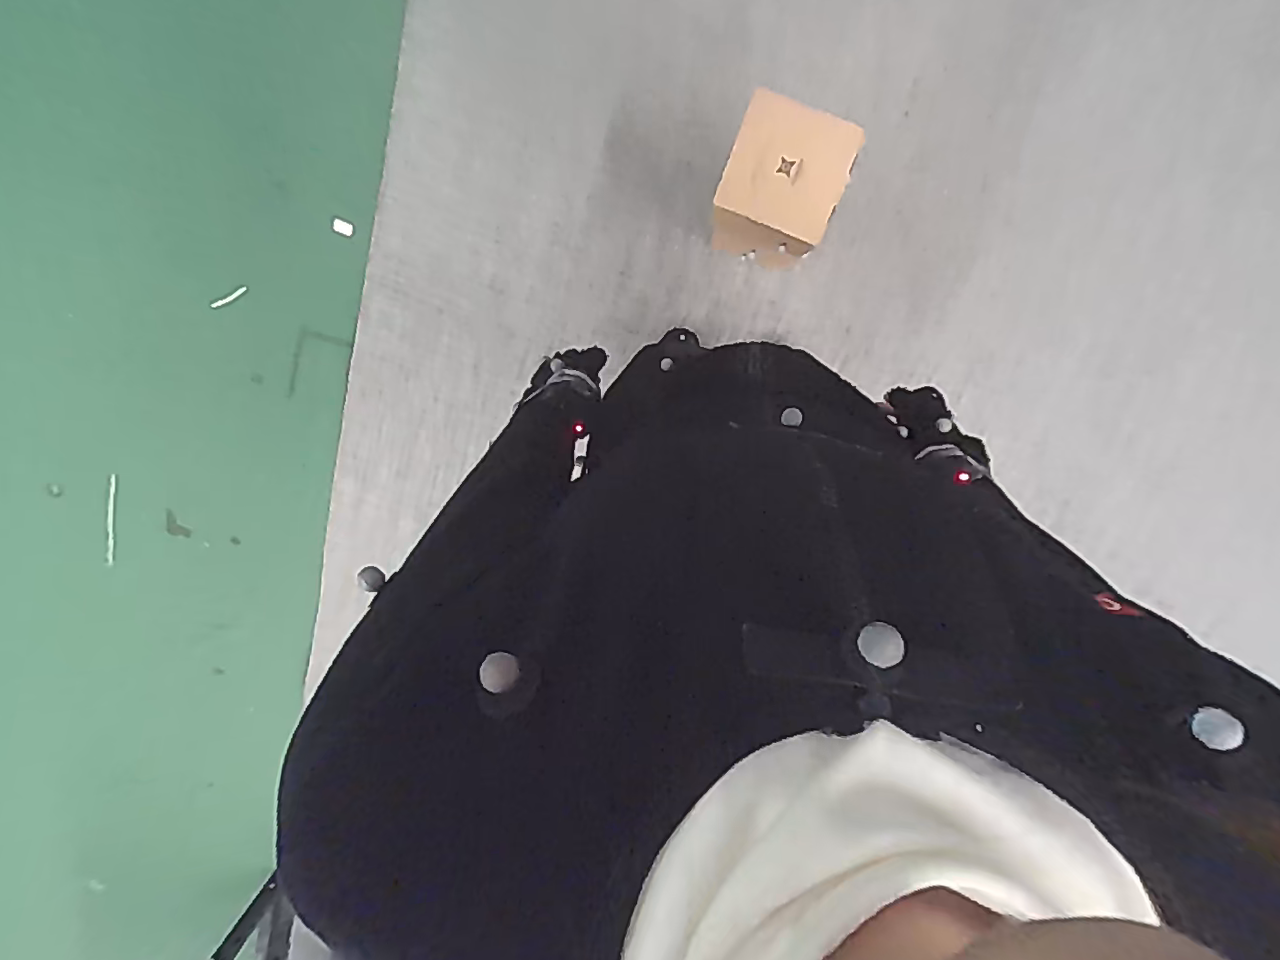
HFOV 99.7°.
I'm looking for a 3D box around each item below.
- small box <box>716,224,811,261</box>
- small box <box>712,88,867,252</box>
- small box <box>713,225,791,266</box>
[{"bbox_3d":[0.256,-0.527,1.024,0.179,0.176,0.168,21,108,-1],"label":"small box"},{"bbox_3d":[0.226,-0.481,0.870,0.179,0.176,0.168,21,107,1],"label":"small box"},{"bbox_3d":[0.272,-0.579,1.176,0.179,0.176,0.168,23,106,-1],"label":"small box"}]
